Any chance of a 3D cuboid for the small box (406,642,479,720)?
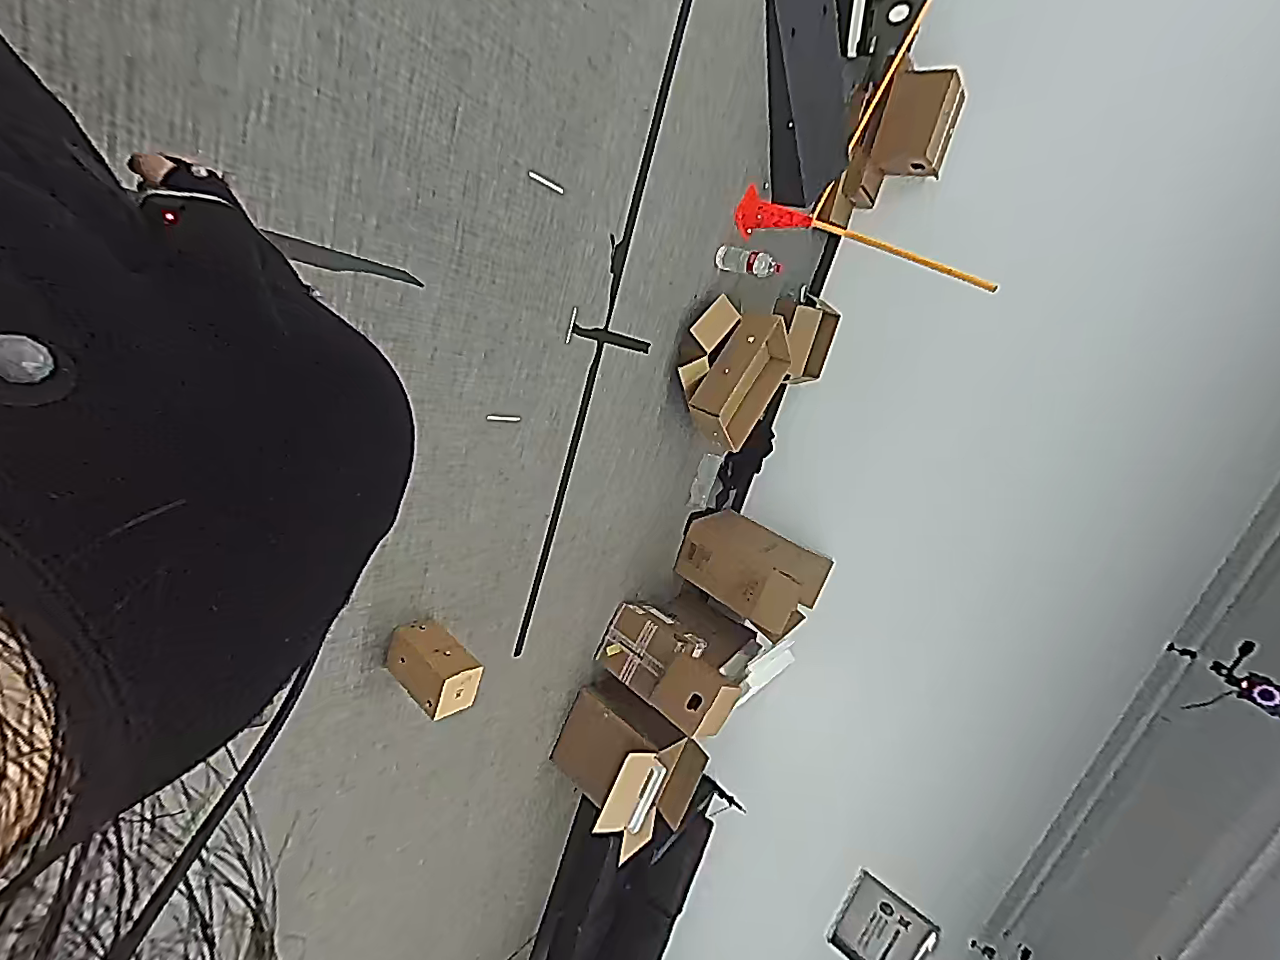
[{"bbox_3d":[-0.714,0.715,1.941,0.168,0.176,0.179,0,112,-57],"label":"small box"}]
